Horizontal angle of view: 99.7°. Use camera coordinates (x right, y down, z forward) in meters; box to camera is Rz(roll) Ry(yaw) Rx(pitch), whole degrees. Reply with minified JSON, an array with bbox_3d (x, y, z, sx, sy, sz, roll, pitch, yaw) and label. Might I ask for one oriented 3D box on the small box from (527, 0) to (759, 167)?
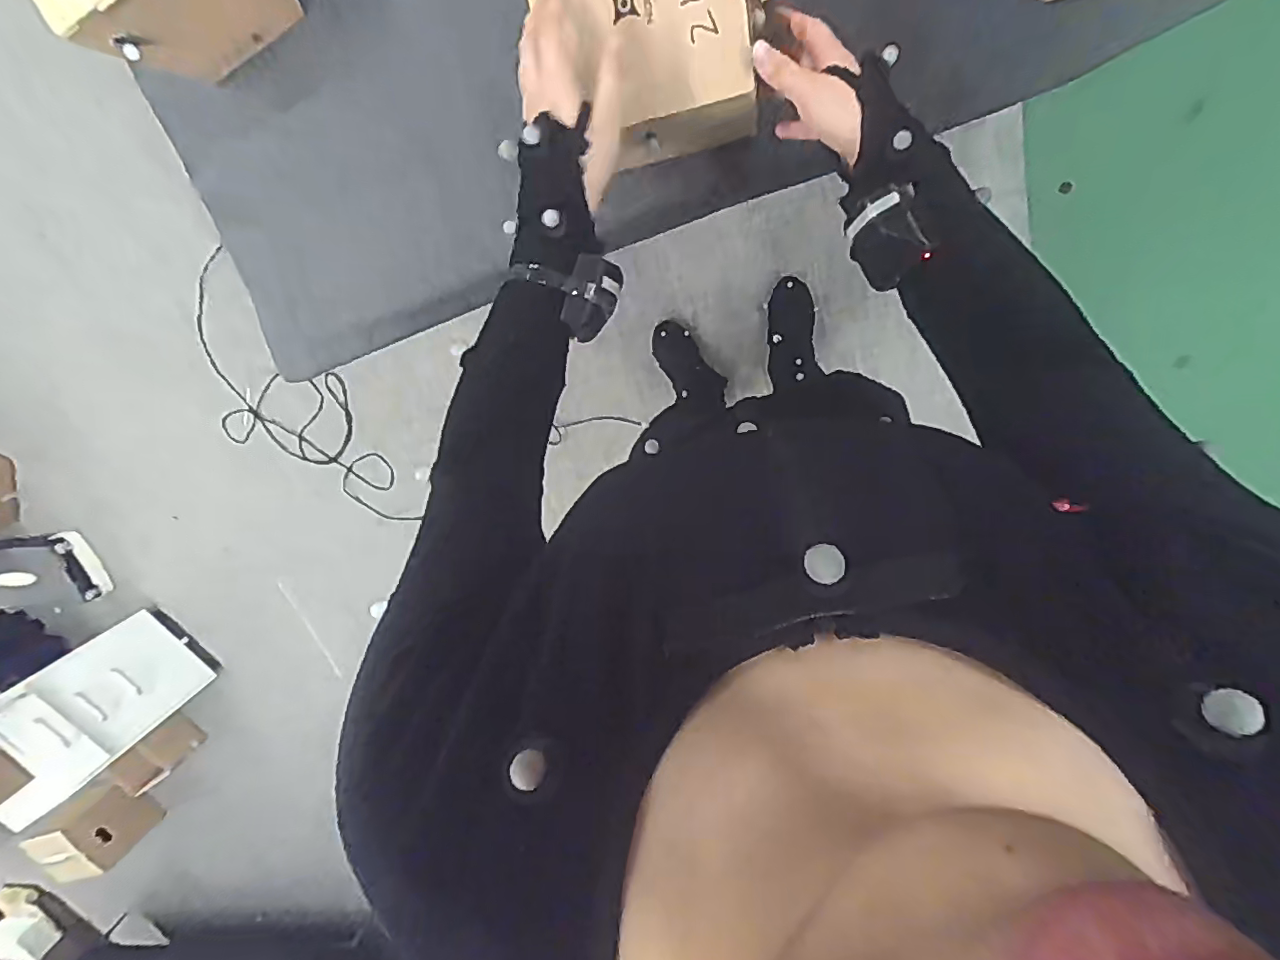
[{"bbox_3d":[0.013,-0.408,0.500,0.179,0.176,0.168,-6,112,15],"label":"small box"}]
